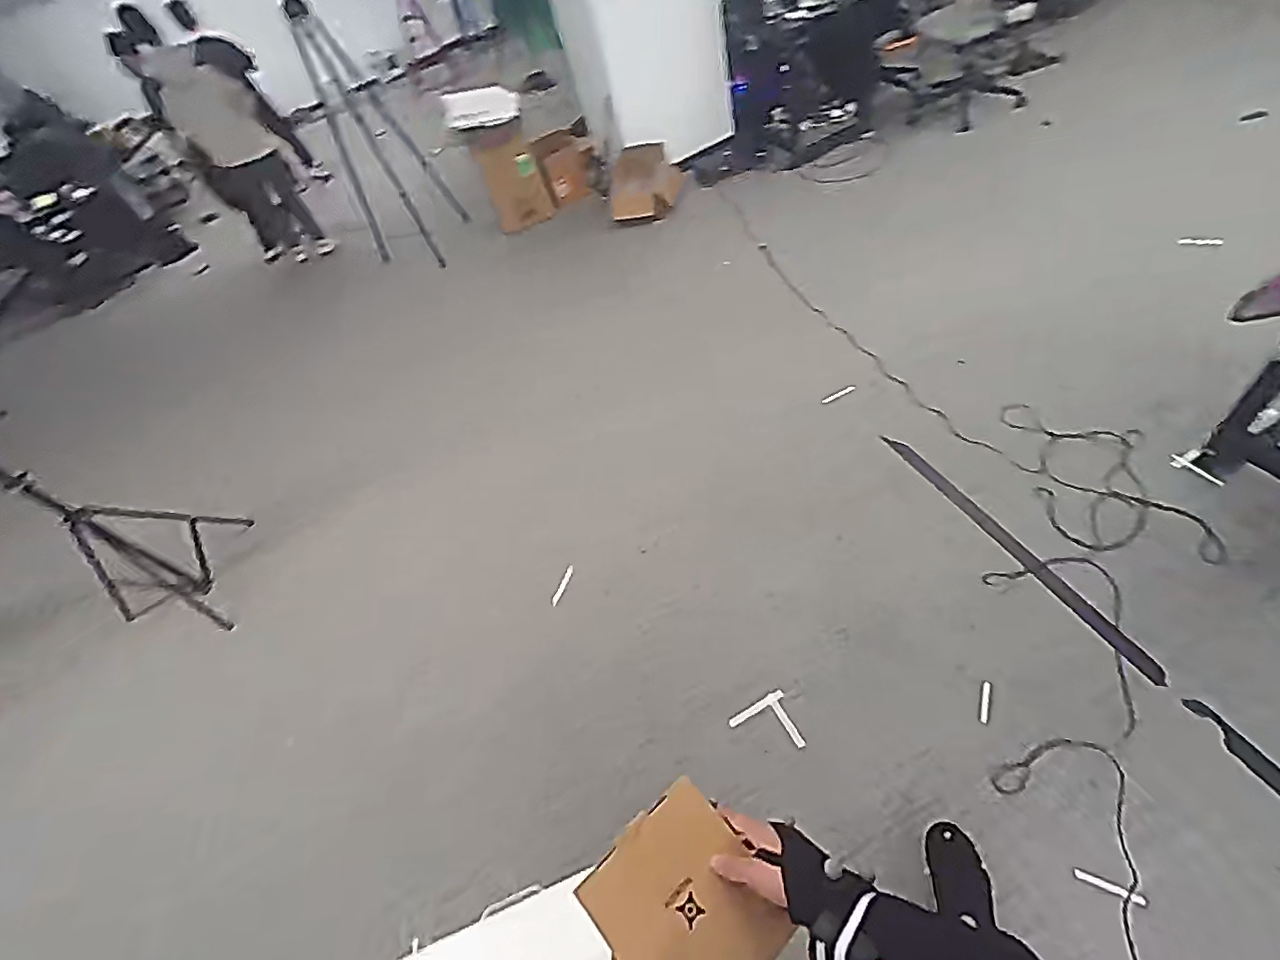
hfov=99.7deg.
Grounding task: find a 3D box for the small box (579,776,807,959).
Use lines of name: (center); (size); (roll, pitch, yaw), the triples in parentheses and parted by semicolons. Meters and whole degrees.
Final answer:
small box: (0.055, 0.478, 0.614); (0.168, 0.176, 0.179); (-35, 58, -23)
